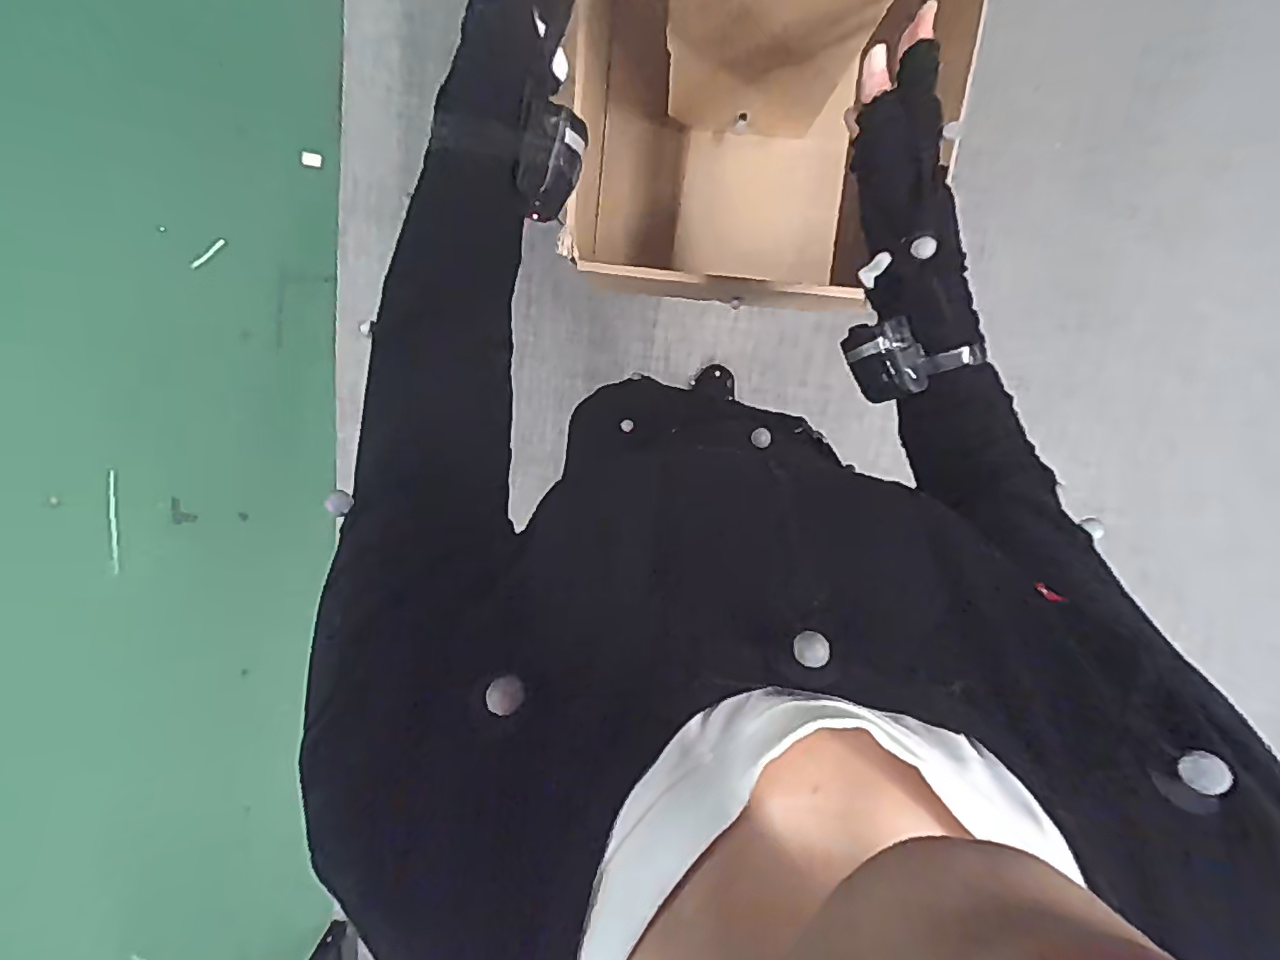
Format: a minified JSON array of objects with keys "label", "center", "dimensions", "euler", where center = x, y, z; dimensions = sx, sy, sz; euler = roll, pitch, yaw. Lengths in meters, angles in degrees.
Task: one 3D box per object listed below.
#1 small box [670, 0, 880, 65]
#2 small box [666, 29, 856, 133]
[{"label":"small box","center":[0.120,-0.464,0.418],"dimensions":[0.179,0.176,0.168],"euler":[9,101,-1]},{"label":"small box","center":[0.126,-0.500,0.578],"dimensions":[0.179,0.176,0.168],"euler":[6,100,0]}]
